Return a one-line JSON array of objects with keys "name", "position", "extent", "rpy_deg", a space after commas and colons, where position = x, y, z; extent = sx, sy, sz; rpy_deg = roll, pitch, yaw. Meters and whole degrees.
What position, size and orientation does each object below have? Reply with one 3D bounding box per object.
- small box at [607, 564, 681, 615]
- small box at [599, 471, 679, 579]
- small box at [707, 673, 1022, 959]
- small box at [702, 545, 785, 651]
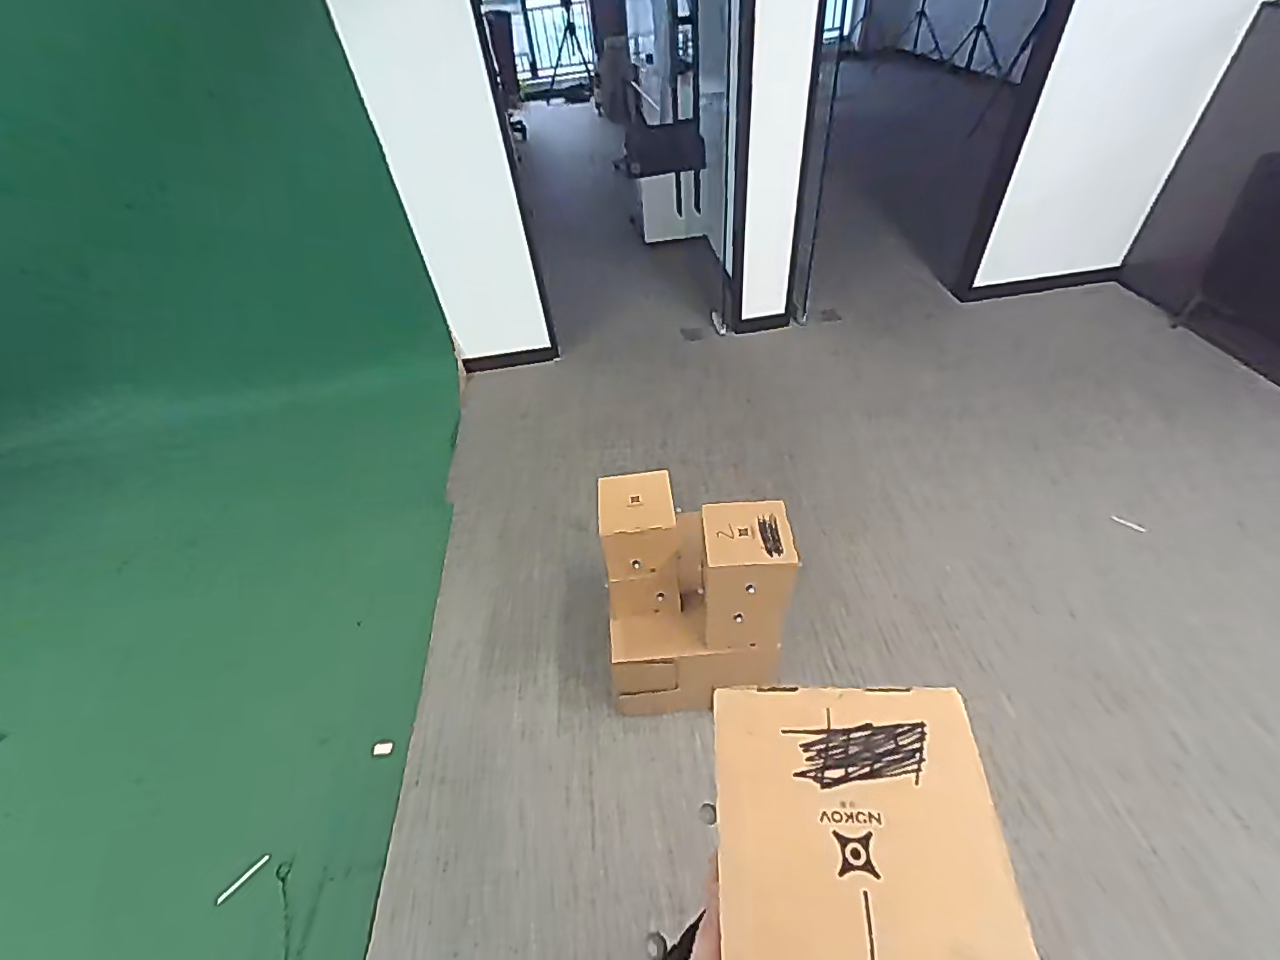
[{"name": "small box", "position": [0.011, 0.224, 1.351], "extent": [0.168, 0.176, 0.179], "rpy_deg": [-6, 42, 2]}, {"name": "small box", "position": [-0.002, 0.104, 1.241], "extent": [0.168, 0.176, 0.179], "rpy_deg": [-7, 44, 1]}, {"name": "small box", "position": [0.135, 0.253, 0.391], "extent": [0.168, 0.176, 0.179], "rpy_deg": [-3, 54, 10]}, {"name": "small box", "position": [0.233, 0.275, 1.263], "extent": [0.168, 0.176, 0.179], "rpy_deg": [-4, 42, 3]}]
